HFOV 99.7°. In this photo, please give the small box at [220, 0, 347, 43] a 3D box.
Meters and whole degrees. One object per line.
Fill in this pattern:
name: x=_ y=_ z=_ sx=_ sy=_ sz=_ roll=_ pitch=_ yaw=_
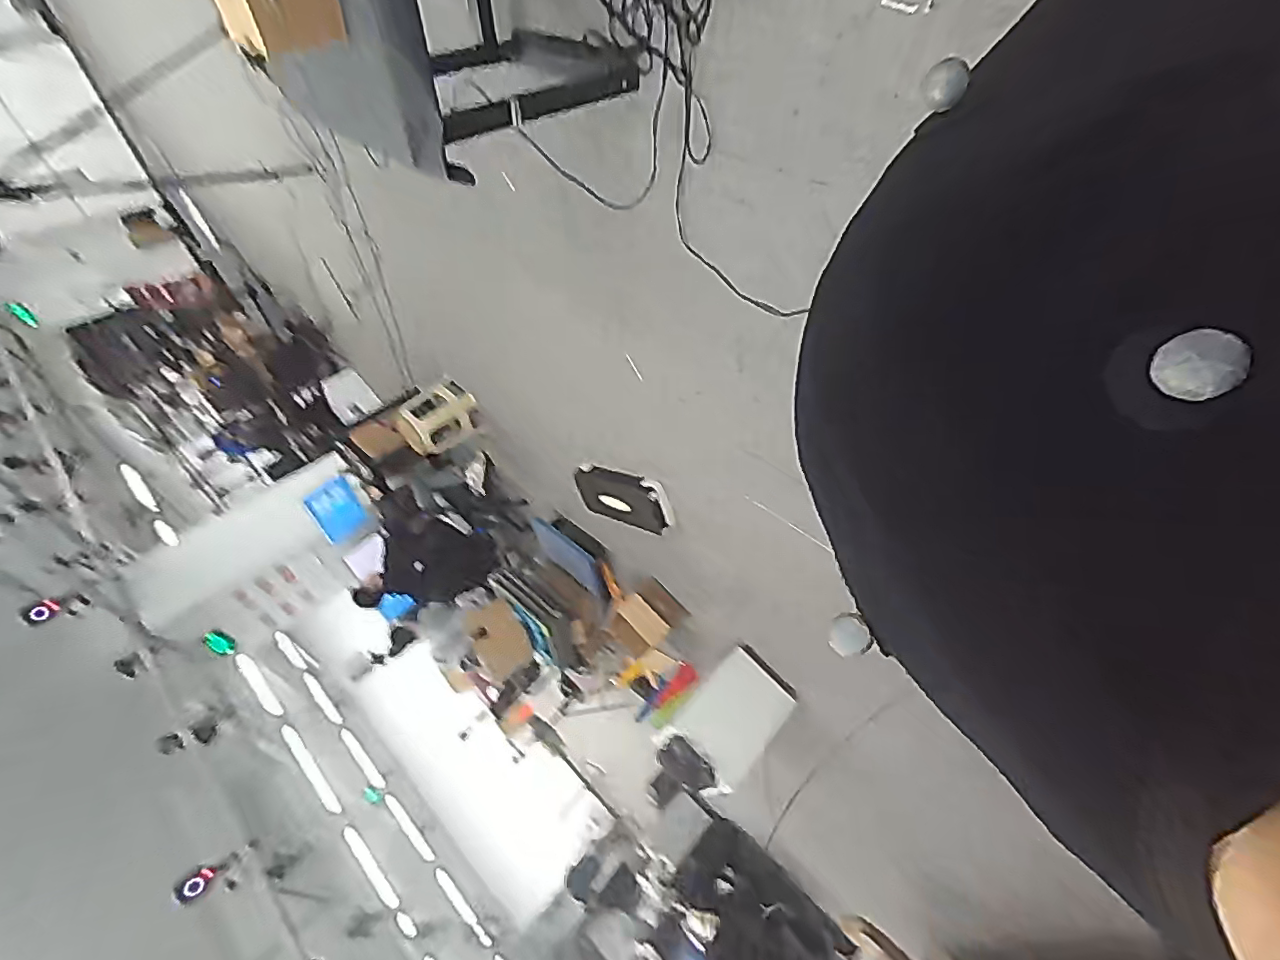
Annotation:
small box: x=-0.684 y=-0.946 z=1.006 sx=0.168 sy=0.176 sz=0.179 roll=34 pitch=145 yaw=26
